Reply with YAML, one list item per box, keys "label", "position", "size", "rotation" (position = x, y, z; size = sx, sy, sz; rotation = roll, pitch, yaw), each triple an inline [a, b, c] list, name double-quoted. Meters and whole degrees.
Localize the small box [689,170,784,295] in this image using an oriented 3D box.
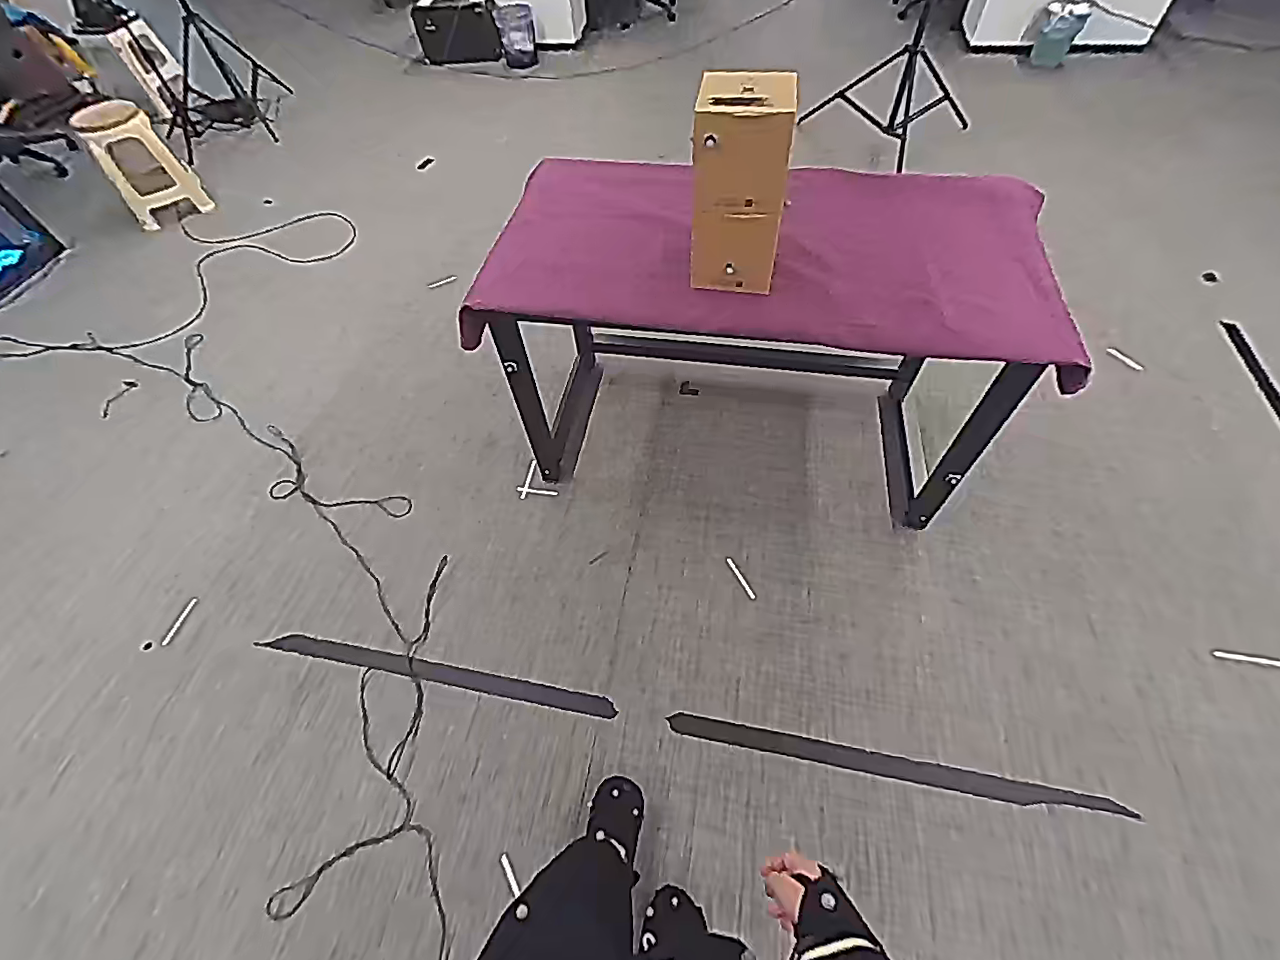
- label: "small box"
  position: [0.195, -0.511, 1.119]
  size: [0.168, 0.176, 0.179]
  rotation: [8, 56, 10]
